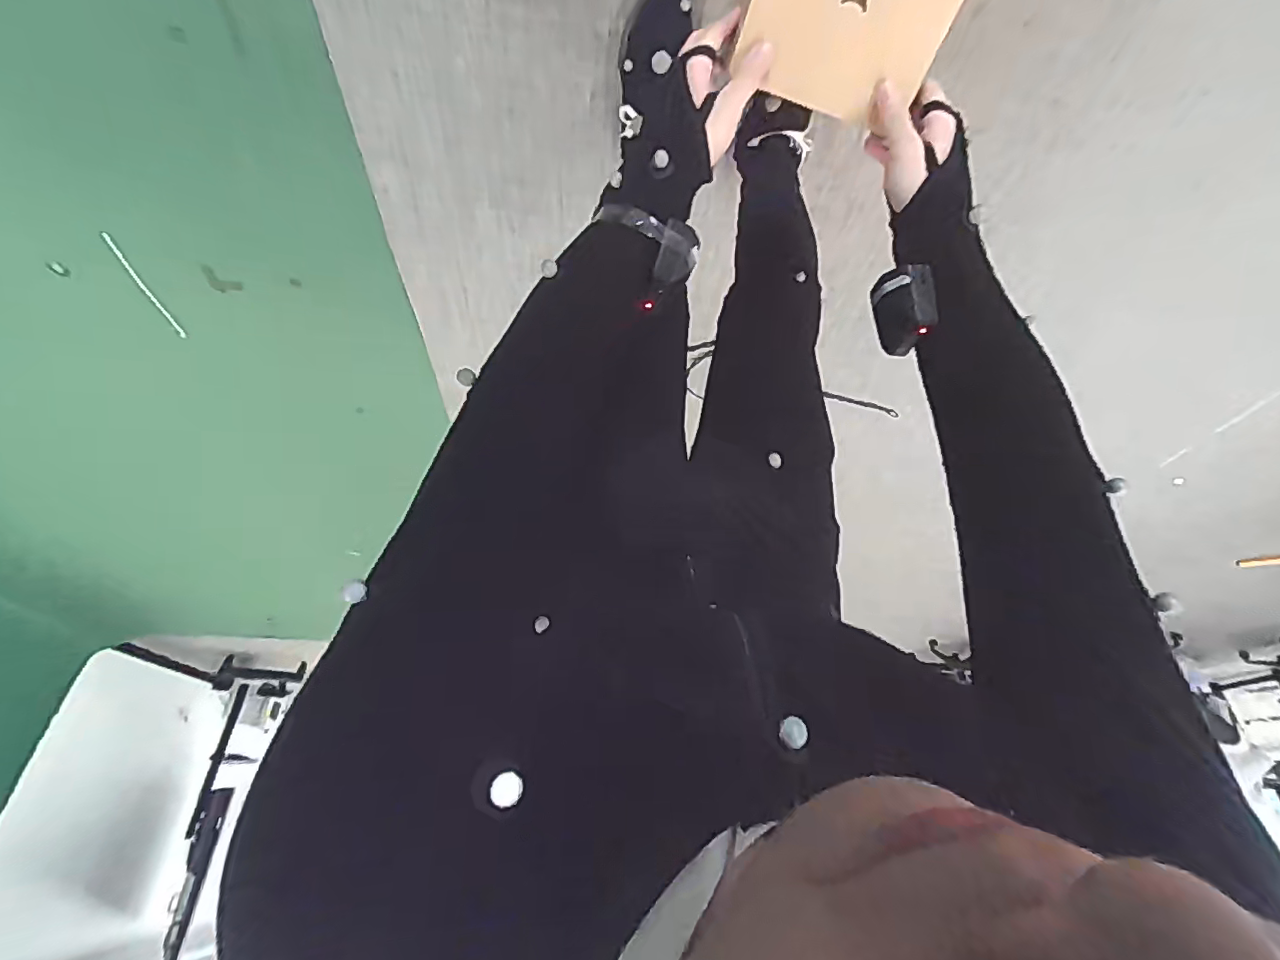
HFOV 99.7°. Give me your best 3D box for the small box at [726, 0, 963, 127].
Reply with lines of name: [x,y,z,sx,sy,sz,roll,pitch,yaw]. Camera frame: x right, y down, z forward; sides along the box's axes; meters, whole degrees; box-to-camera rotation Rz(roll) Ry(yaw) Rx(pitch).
small box: [0.183,-0.451,0.484,0.168,0.176,0.179,14,129,-8]
